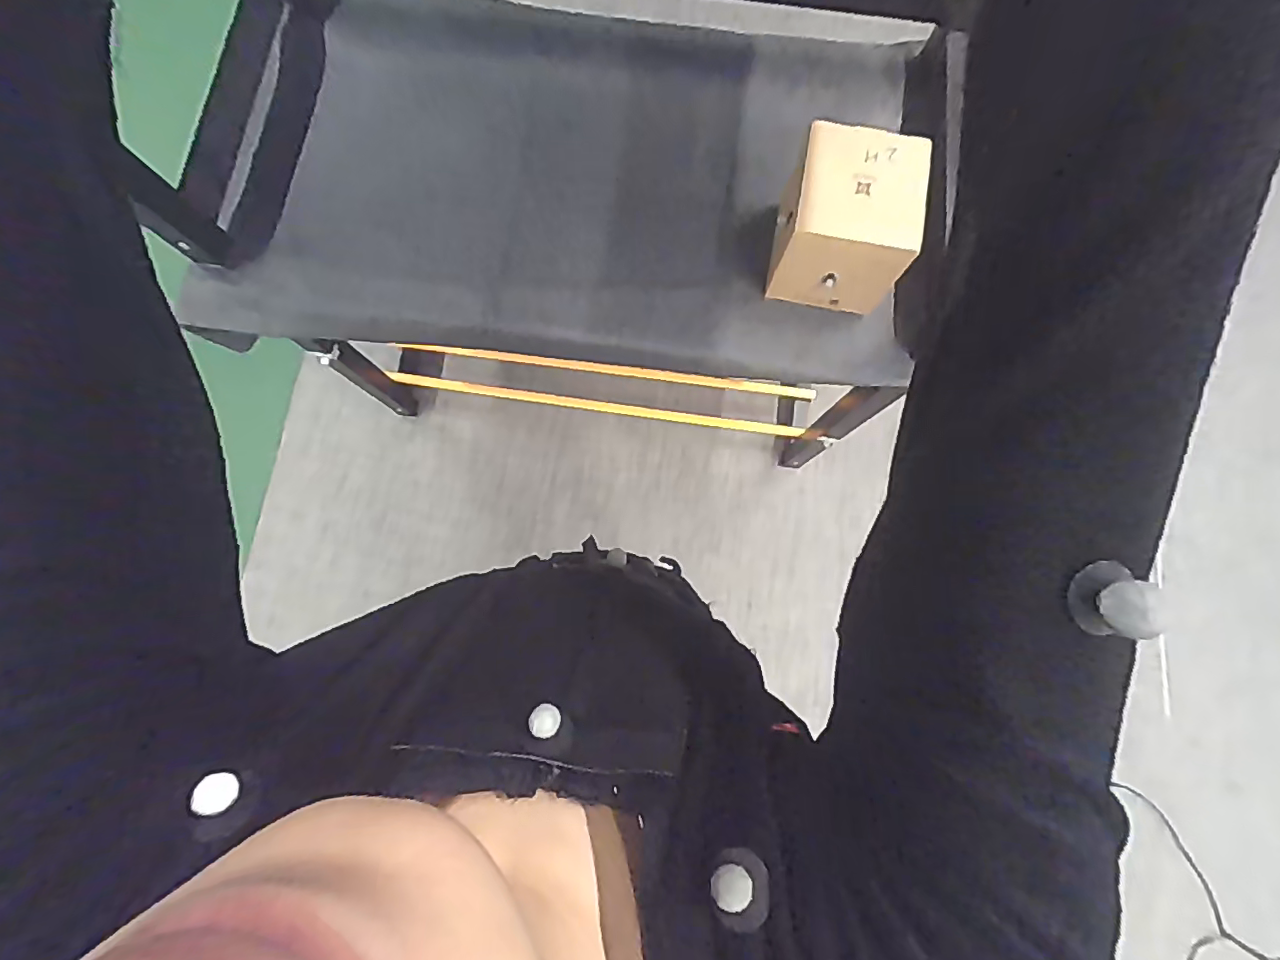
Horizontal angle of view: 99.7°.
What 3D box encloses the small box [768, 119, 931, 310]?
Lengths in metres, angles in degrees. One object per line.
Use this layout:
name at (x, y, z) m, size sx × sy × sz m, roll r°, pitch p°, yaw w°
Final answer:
small box at (0.294, -0.376, 0.793) m, size 0.168 × 0.176 × 0.179 m, roll 11°, pitch 78°, yaw 1°
